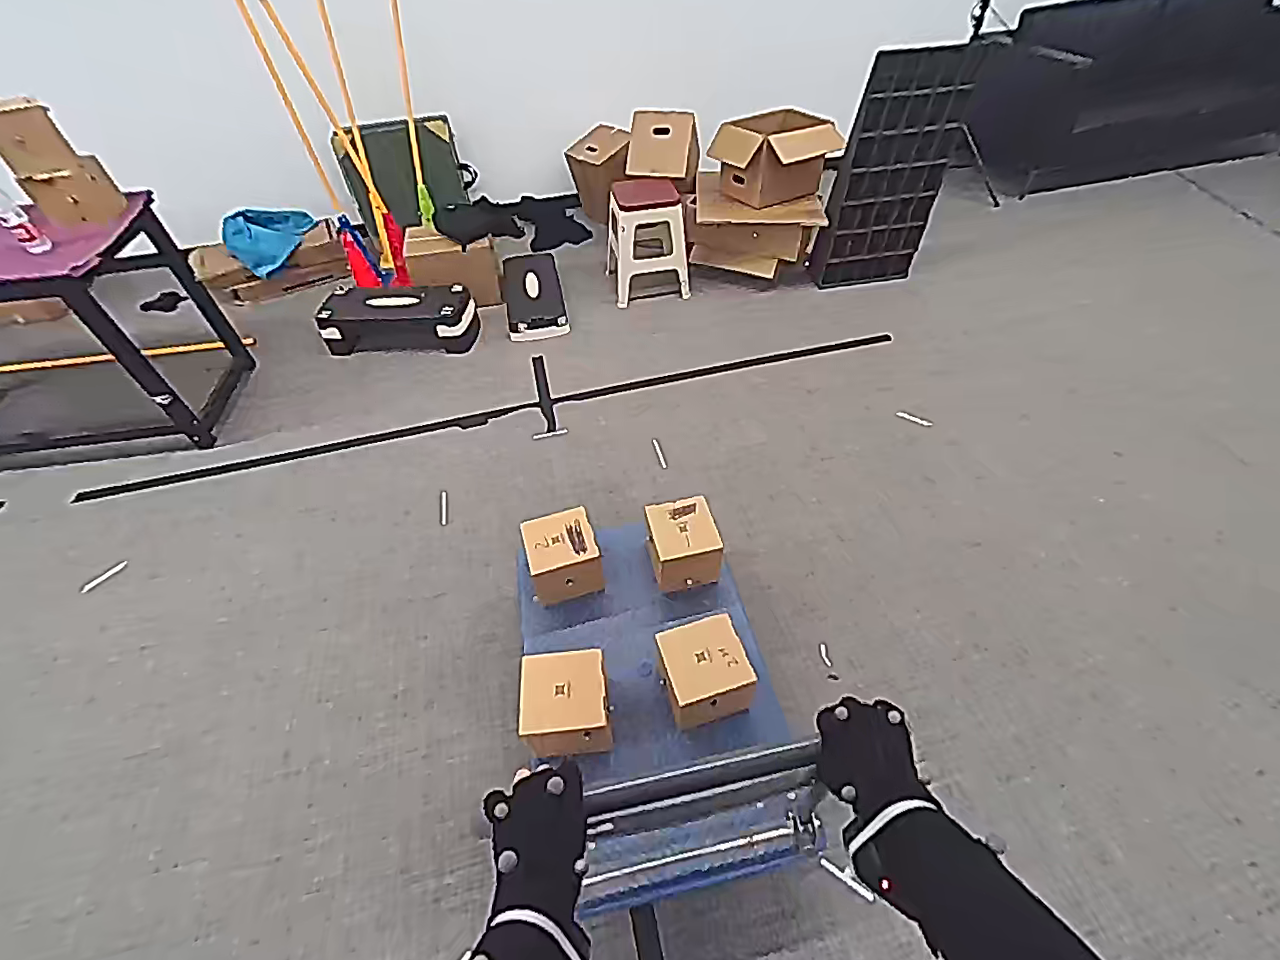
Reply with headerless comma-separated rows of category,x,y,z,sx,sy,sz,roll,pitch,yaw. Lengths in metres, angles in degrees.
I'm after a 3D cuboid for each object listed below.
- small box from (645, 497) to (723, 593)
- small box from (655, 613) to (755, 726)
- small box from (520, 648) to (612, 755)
small box,0.111,0.175,1.454,0.168,0.176,0.179,-11,50,-7
small box,0.142,0.434,1.227,0.179,0.176,0.168,-15,50,-9
small box,-0.158,0.492,1.194,0.179,0.176,0.168,-5,49,-3
